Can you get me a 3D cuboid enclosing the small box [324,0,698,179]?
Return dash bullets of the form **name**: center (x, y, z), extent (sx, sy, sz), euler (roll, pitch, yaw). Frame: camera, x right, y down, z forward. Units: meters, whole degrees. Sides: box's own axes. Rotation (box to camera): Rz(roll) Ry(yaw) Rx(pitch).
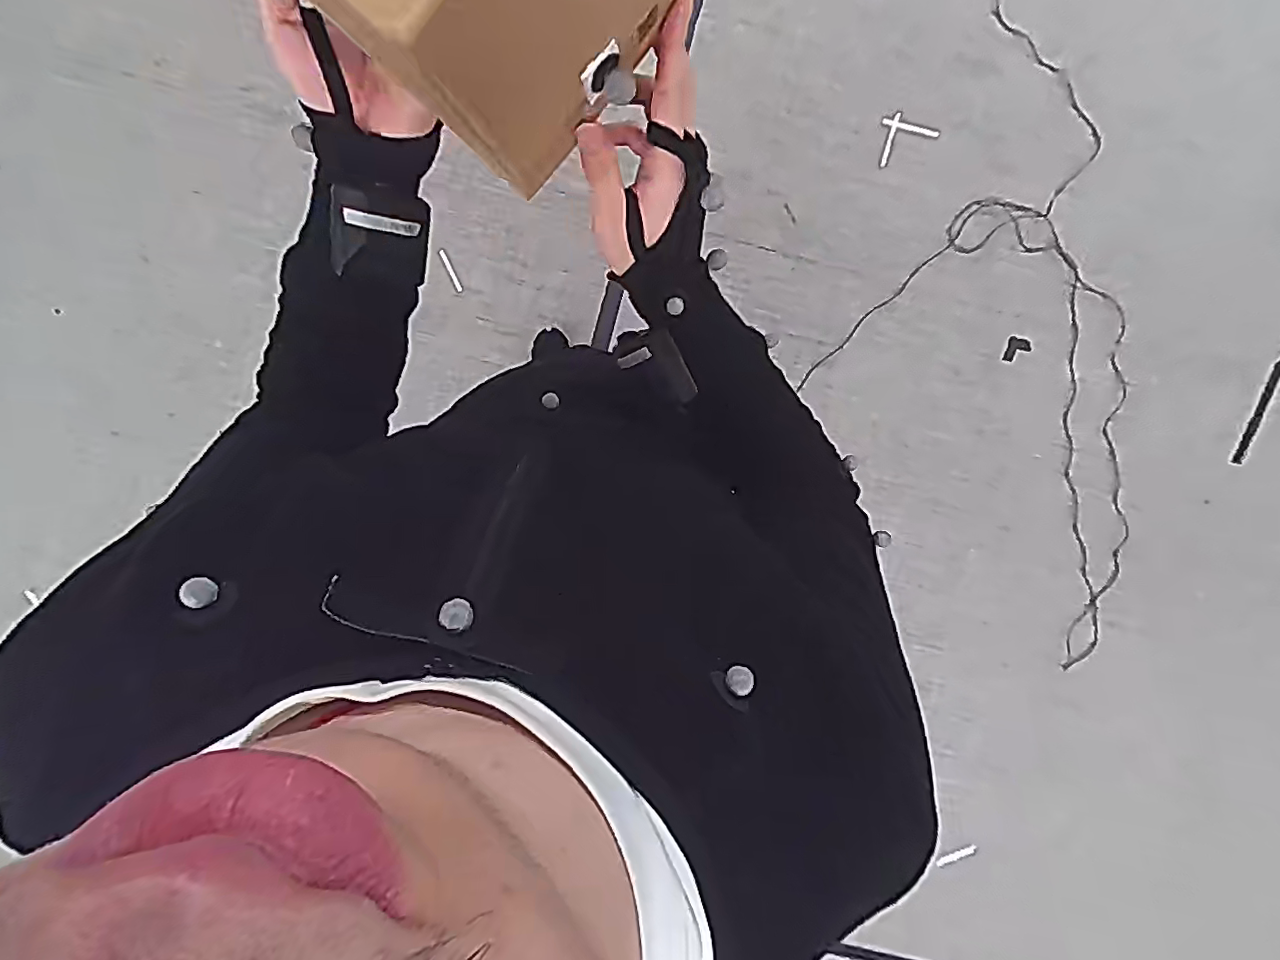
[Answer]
- **small box**: center (-0.073, -0.266, 0.222), extent (0.179, 0.176, 0.168), euler (40, 101, -7)
